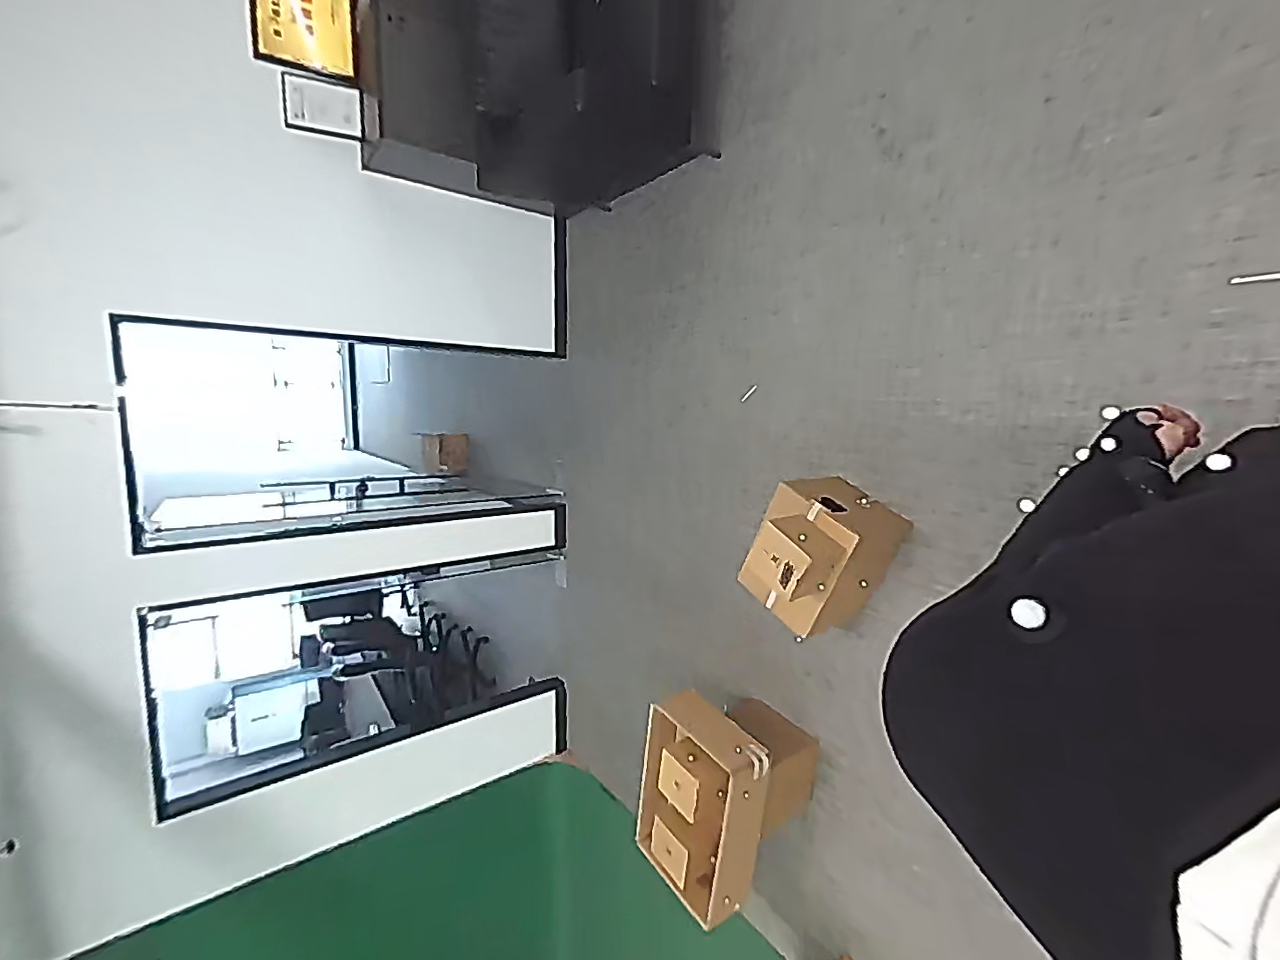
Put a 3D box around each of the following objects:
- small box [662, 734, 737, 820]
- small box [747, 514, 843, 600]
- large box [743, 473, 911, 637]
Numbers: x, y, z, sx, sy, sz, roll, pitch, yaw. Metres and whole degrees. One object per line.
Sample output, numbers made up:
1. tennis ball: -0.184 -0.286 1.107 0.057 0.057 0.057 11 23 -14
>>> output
1. small box: 0.199 0.987 1.822 0.179 0.176 0.168 22 111 48
2. small box: 0.454 0.215 1.573 0.179 0.176 0.168 45 128 39
3. large box: 0.606 0.230 1.782 0.320 0.320 0.408 42 127 42
